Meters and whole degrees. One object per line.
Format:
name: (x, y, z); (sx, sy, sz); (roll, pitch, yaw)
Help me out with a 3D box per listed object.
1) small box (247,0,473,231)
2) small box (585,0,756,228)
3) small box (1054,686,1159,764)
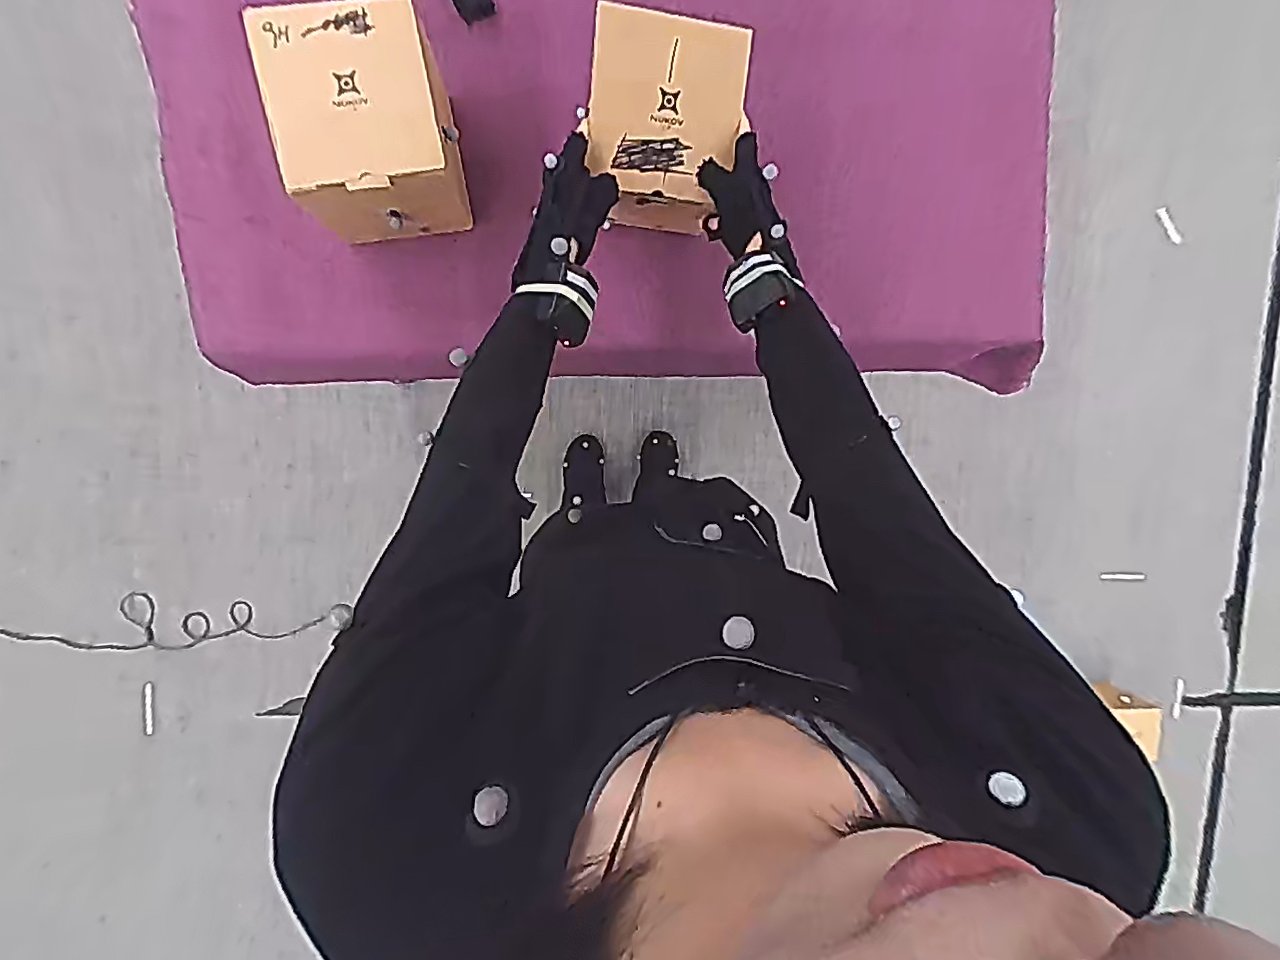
small box: (-0.302, -0.406, 0.627); (0.168, 0.176, 0.179); (-10, 97, -7)
small box: (0.024, -0.420, 0.653); (0.168, 0.176, 0.179); (5, 103, -8)
small box: (1.449, 0.758, 1.686); (0.179, 0.176, 0.168); (2, 94, -6)
